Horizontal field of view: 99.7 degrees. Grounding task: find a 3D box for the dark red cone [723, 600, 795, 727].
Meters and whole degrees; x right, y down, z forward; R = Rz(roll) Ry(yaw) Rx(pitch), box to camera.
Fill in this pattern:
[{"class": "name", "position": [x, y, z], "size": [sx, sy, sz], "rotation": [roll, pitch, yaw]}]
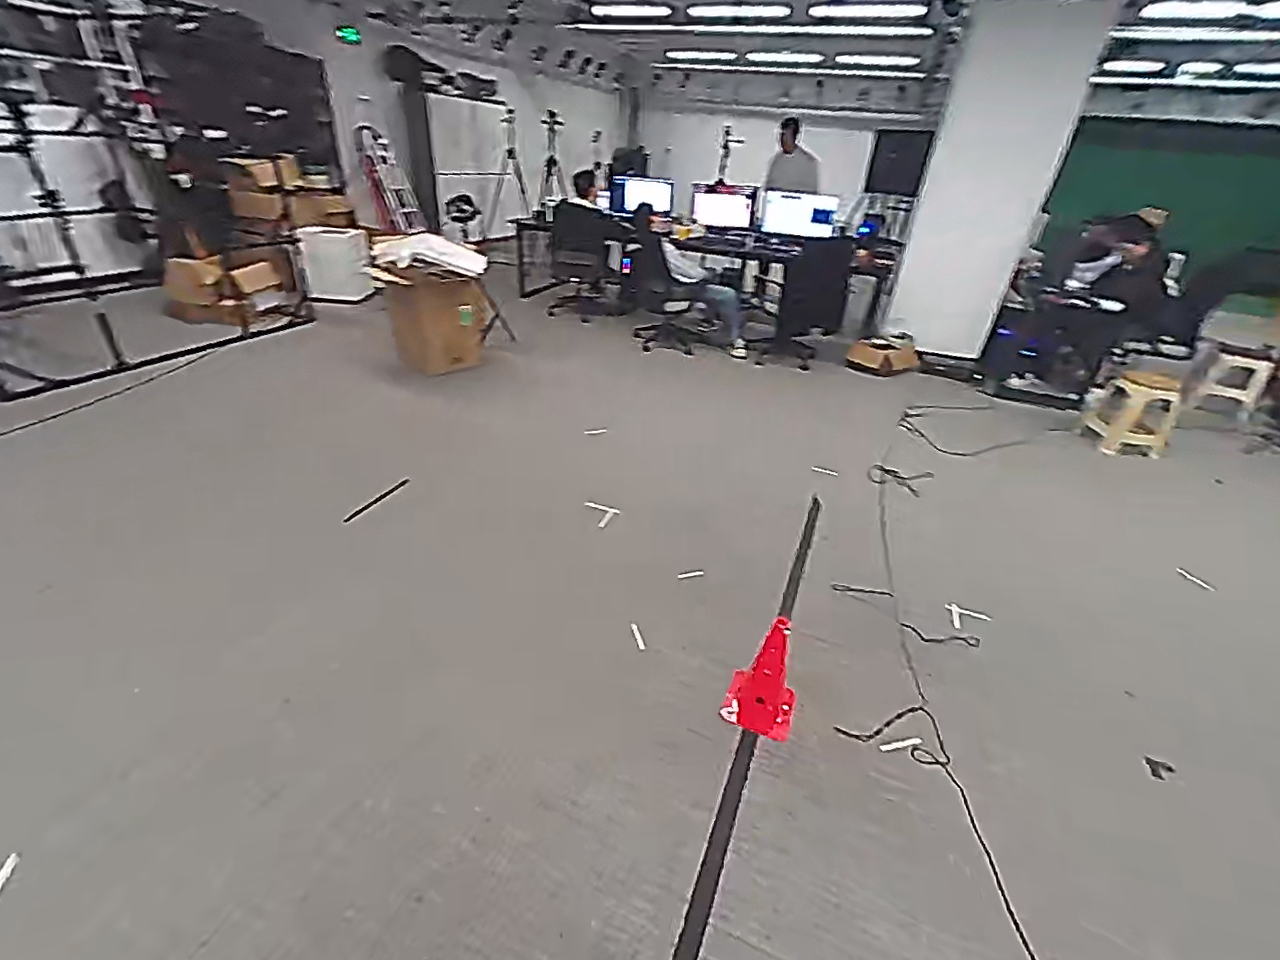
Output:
[{"class": "dark red cone", "position": [0.383, 0.509, 1.578], "size": [0.201, 0.394, 0.202], "rotation": [16, 33, 16]}]
